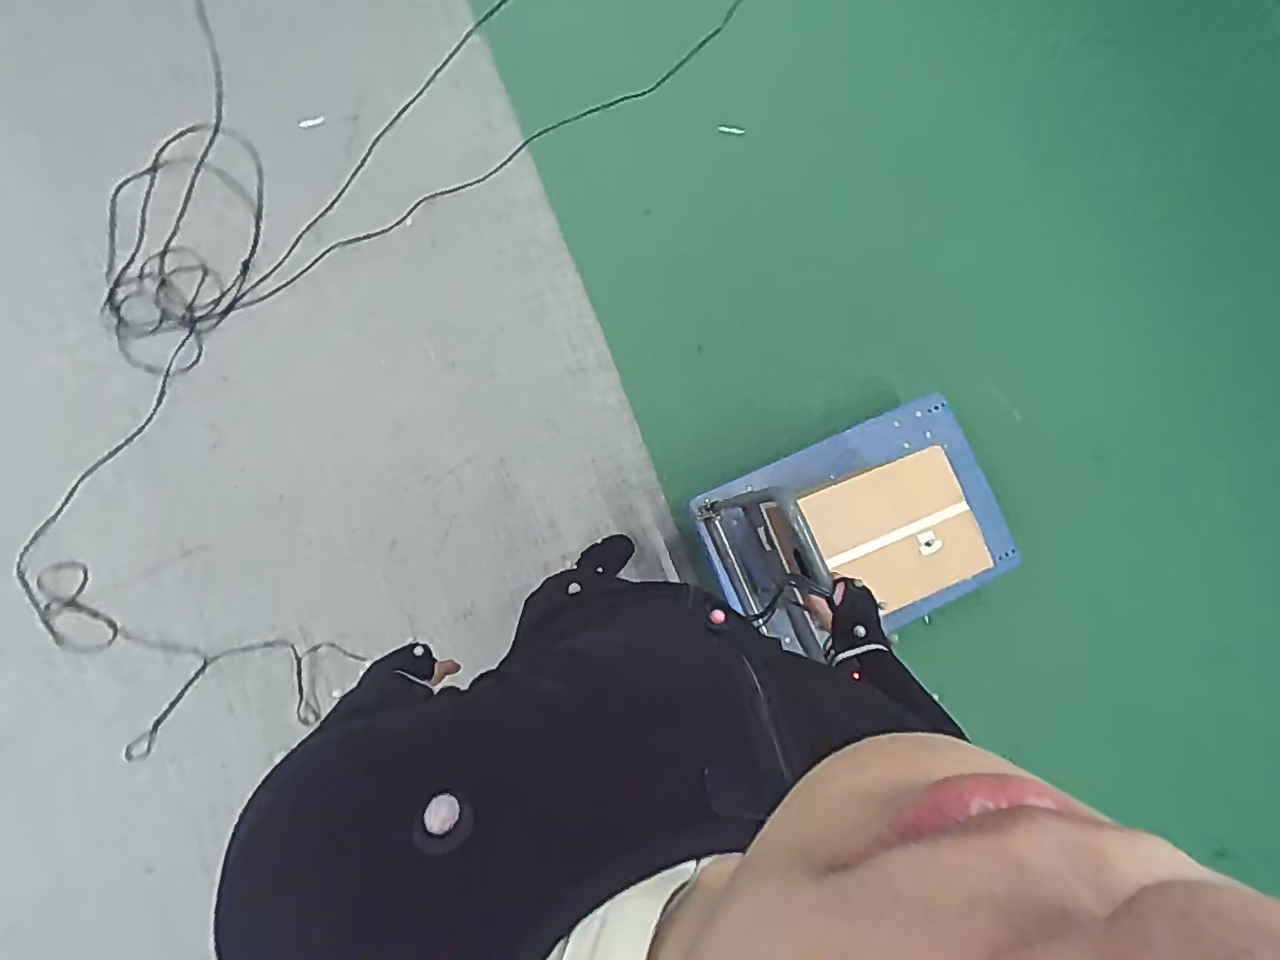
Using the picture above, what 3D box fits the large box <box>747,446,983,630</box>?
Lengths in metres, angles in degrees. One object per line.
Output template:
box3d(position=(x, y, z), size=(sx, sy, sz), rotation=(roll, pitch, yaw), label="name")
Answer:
box3d(position=(0.551, 0.150, 1.391), size=(0.408, 0.320, 0.320), rotation=(-20, 86, -10), label="large box")
